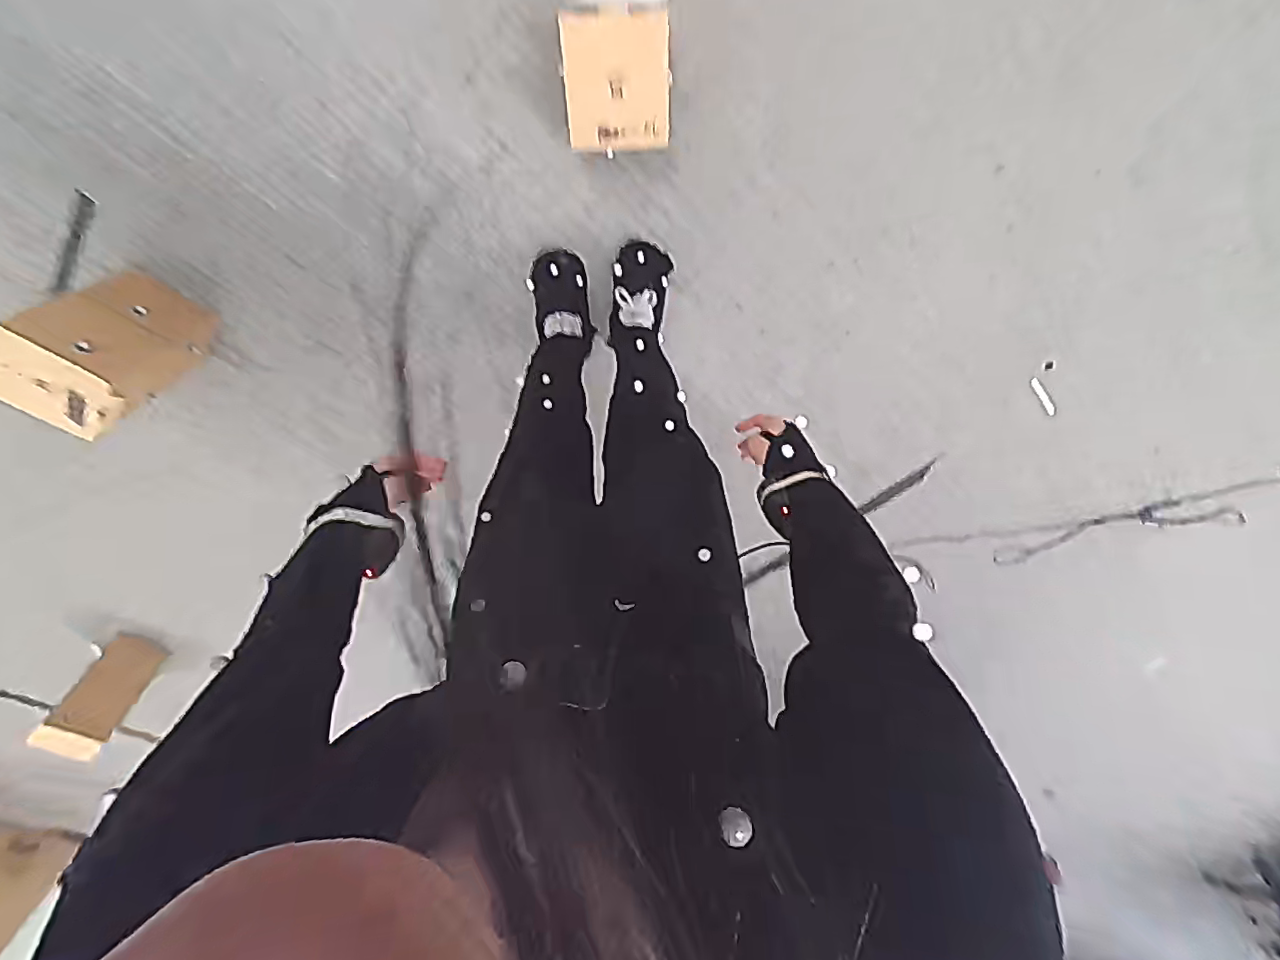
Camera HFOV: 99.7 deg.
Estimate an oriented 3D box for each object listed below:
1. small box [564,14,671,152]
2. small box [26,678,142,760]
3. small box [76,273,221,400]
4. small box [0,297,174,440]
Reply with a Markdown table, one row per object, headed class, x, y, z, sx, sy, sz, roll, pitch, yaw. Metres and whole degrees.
| class | x | y | z | sx | sy | sz | roll | pitch | yaw |
| --- | --- | --- | --- | --- | --- | --- | --- | --- | --- |
| small box | -0.037 | -0.669 | 0.919 | 0.168 | 0.176 | 0.179 | -3 | 127 | -1 |
| small box | -1.783 | 0.764 | 1.742 | 0.168 | 0.176 | 0.179 | -36 | 121 | 23 |
| small box | -1.053 | -0.312 | 1.158 | 0.179 | 0.176 | 0.168 | 34 | 119 | -23 |
| small box | -1.044 | -0.216 | 1.024 | 0.179 | 0.176 | 0.168 | 34 | 119 | -24 |
